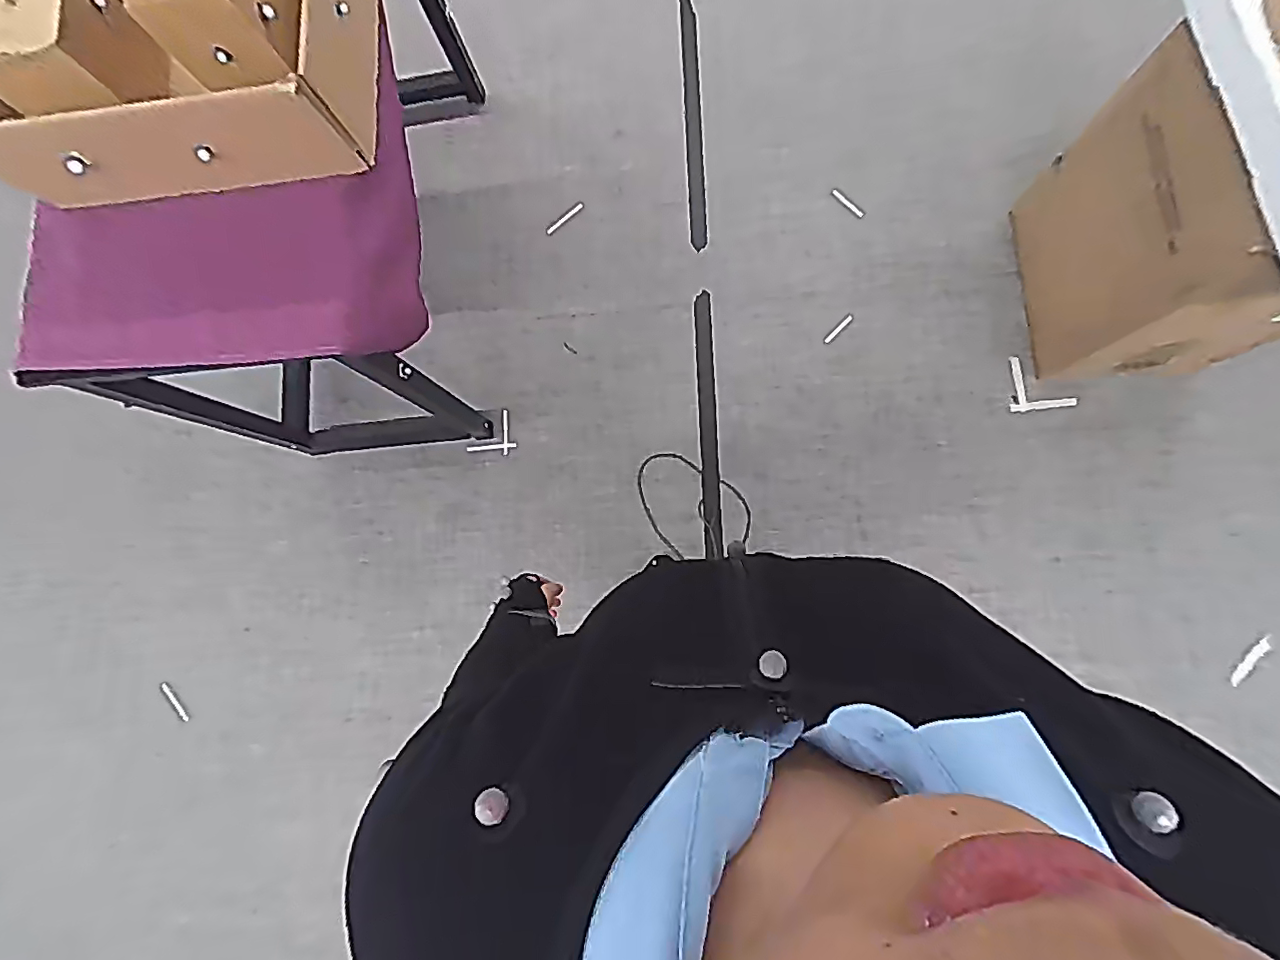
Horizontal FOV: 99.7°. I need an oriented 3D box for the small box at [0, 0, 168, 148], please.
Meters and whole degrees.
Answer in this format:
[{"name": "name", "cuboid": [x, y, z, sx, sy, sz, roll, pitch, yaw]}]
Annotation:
[{"name": "small box", "cuboid": [-0.901, -0.673, 0.858, 0.168, 0.176, 0.179, -7, 81, 3]}]
